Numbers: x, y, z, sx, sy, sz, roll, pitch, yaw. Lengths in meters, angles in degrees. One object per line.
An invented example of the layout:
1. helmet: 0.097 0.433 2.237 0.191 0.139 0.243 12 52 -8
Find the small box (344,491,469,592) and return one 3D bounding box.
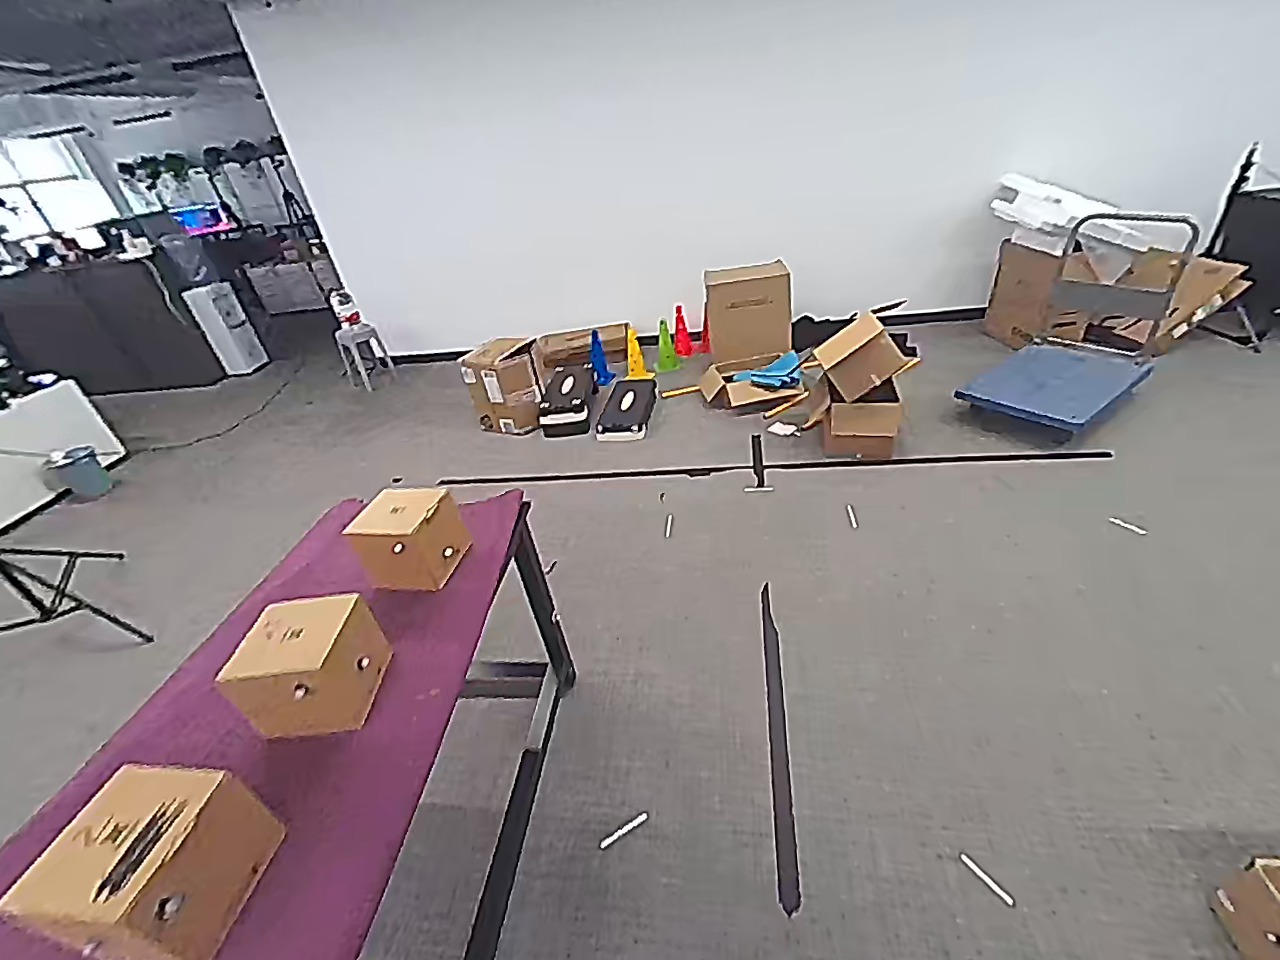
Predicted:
1. small box: -0.525 0.140 1.242 0.179 0.176 0.168 -1 34 14

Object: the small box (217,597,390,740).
1. small box: -0.578 0.335 0.961 0.179 0.176 0.168 -8 33 2
